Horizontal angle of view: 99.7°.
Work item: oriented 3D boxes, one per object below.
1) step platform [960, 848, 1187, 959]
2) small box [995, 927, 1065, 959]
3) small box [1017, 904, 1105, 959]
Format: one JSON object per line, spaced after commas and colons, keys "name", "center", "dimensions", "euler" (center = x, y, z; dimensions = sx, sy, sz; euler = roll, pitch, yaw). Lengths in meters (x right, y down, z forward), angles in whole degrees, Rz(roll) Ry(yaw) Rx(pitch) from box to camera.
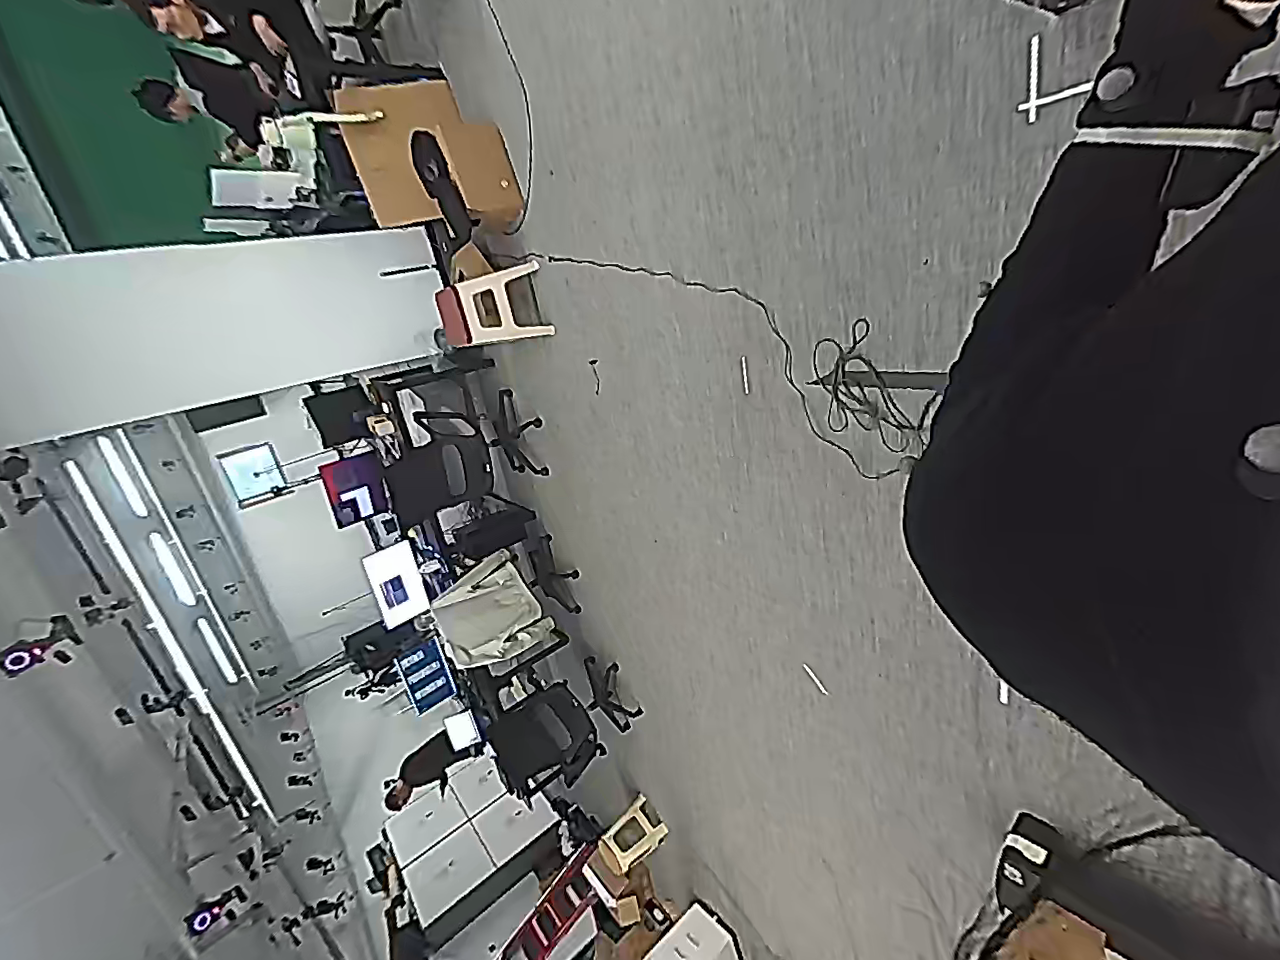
{"name": "step platform", "center": [1.228, 1.300, 1.383], "dimensions": [0.684, 0.204, 0.286], "euler": [14, 122, 52]}
{"name": "small box", "center": [1.052, 1.363, 1.436], "dimensions": [0.168, 0.176, 0.179], "euler": [11, 119, 51]}
{"name": "small box", "center": [1.182, 1.303, 1.516], "dimensions": [0.168, 0.176, 0.179], "euler": [11, 120, 51]}
